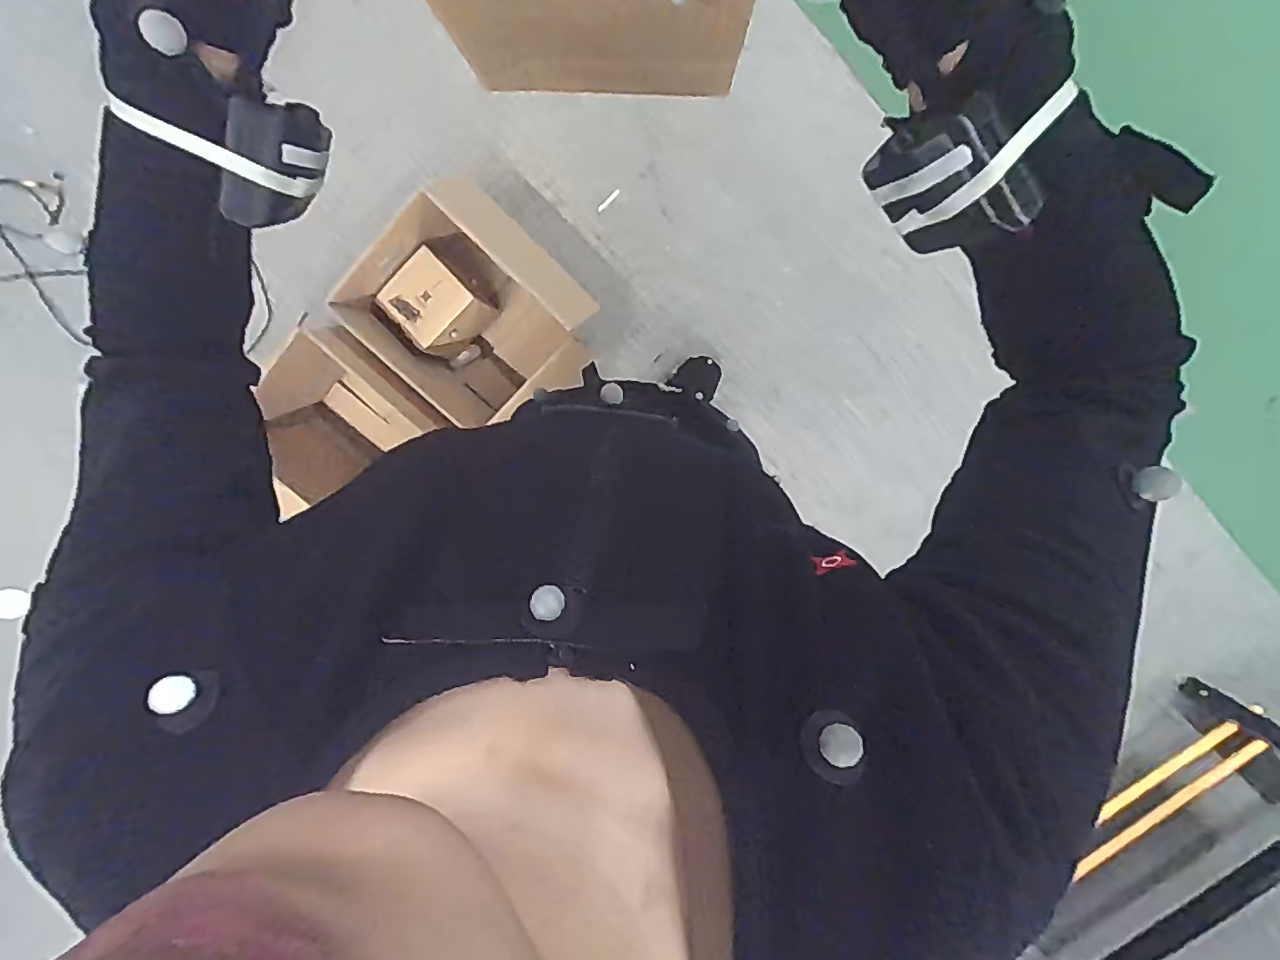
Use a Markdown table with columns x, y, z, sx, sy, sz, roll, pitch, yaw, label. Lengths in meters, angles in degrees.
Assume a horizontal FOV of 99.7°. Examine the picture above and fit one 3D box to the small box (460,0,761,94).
| x | y | z | sx | sy | sz | roll | pitch | yaw | label |
| --- | --- | --- | --- | --- | --- | --- | --- | --- | --- |
| -0.015 | -0.335 | 0.288 | 0.179 | 0.176 | 0.168 | 2 | 104 | 0 | small box |
